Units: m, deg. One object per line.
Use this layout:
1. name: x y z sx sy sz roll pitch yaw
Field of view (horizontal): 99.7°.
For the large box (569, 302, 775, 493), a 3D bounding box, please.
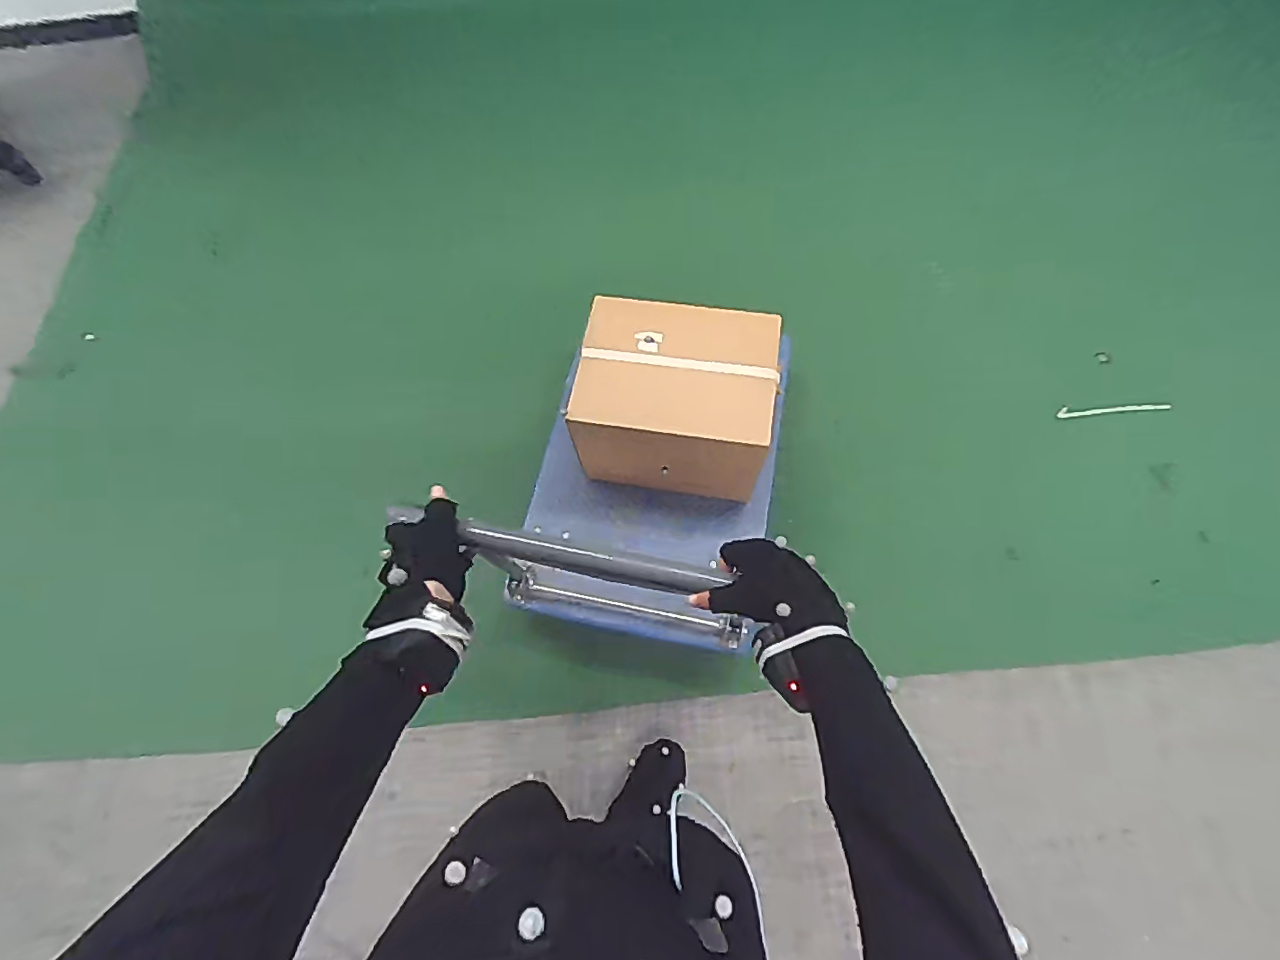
1. large box: 0.082 -0.177 1.255 0.408 0.320 0.320 7 68 6
